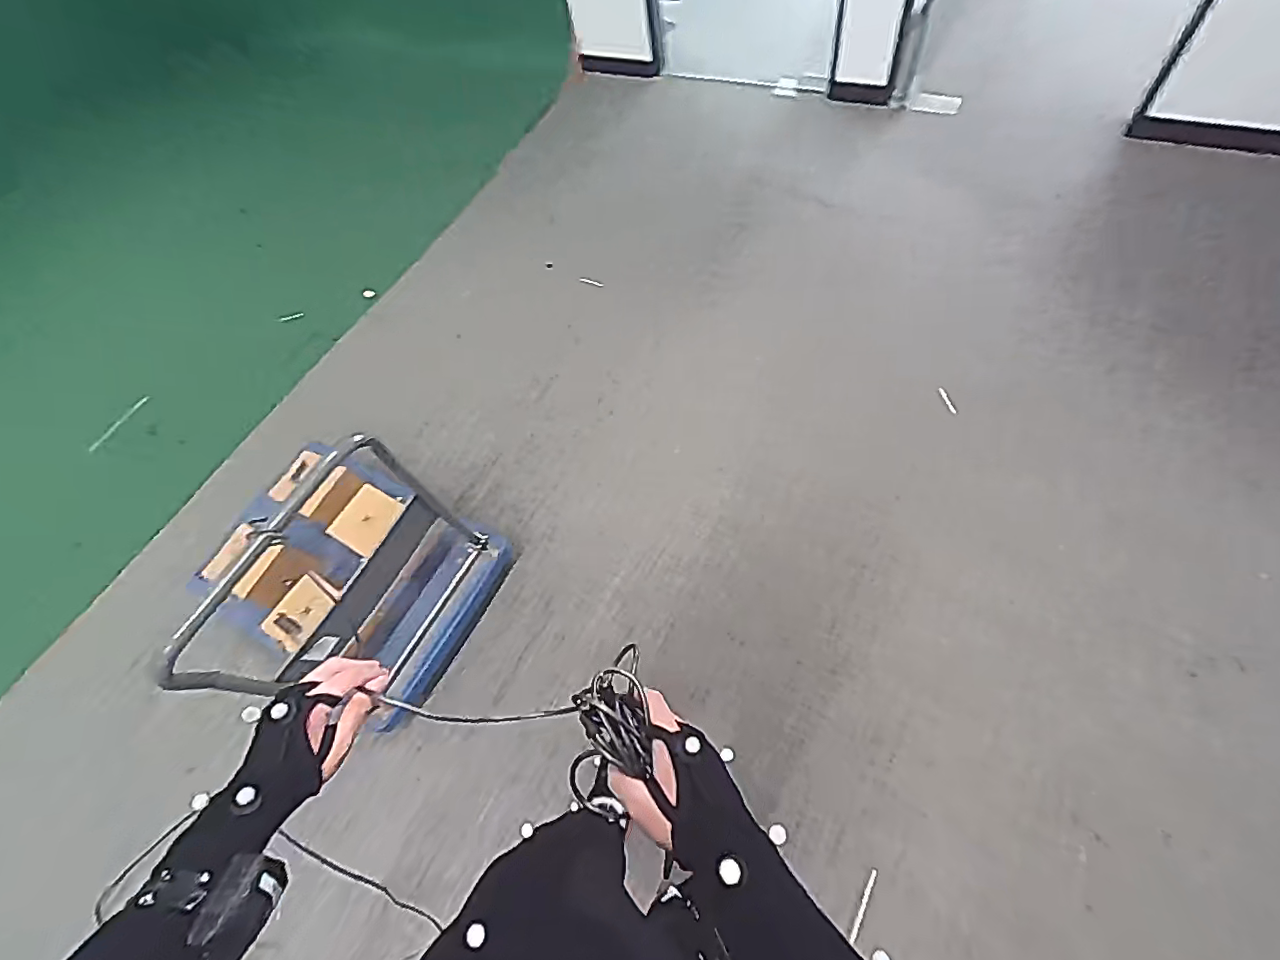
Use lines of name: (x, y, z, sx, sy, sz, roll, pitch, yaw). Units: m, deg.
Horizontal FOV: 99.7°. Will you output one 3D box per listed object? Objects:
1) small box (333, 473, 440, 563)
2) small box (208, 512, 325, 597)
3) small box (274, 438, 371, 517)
small box: (-0.710, 0.113, 1.529, 0.179, 0.176, 0.168, 26, 71, 19)
small box: (-1.047, 0.218, 1.533, 0.179, 0.176, 0.168, 21, 68, 18)
small box: (-0.927, 0.007, 1.617, 0.179, 0.176, 0.168, 23, 70, 18)
